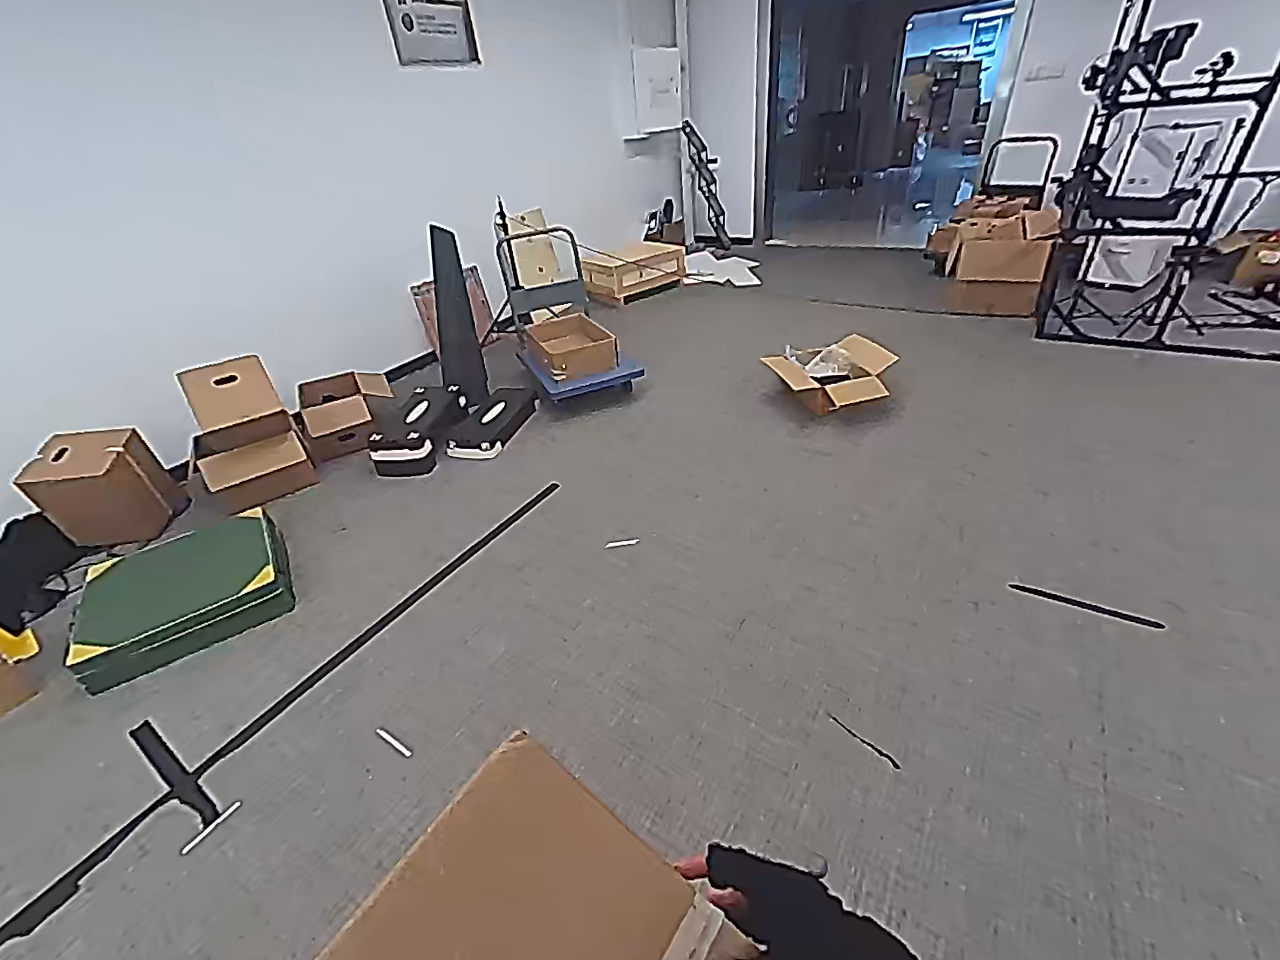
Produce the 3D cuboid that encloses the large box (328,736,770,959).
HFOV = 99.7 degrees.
[{"bbox_3d":[-0.109,0.459,0.342,0.320,0.320,0.408,38,55,10],"label":"large box"}]
